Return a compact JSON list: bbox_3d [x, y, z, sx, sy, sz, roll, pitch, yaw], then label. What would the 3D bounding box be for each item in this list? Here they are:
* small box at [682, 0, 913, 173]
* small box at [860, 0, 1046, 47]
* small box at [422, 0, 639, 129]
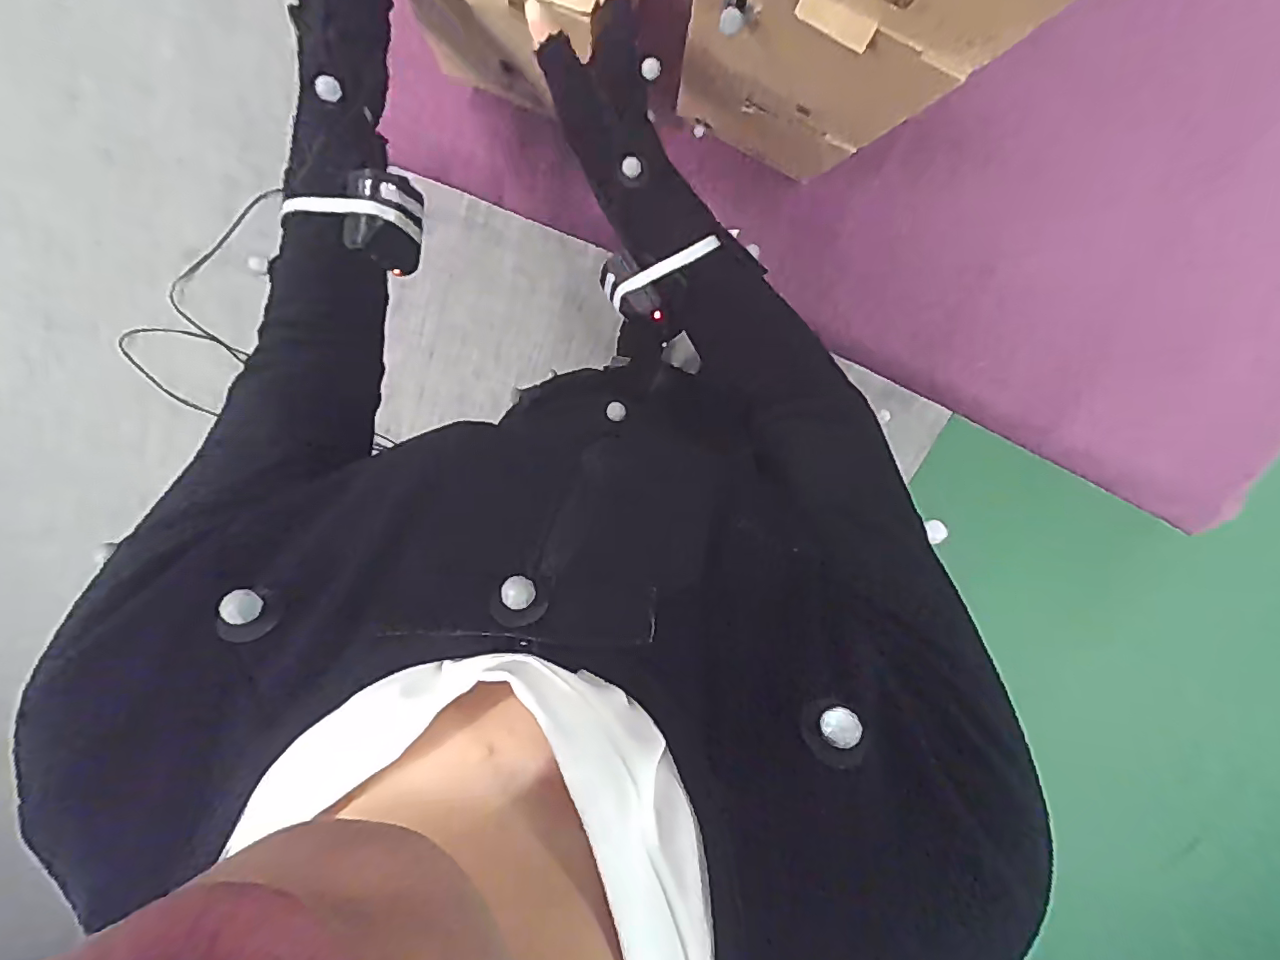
[{"bbox_3d":[0.148,-0.417,0.499,0.168,0.176,0.179,24,108,-8],"label":"small box"},{"bbox_3d":[0.142,-0.311,0.188,0.168,0.176,0.179,21,109,-7],"label":"small box"},{"bbox_3d":[-0.089,-0.457,0.465,0.168,0.176,0.179,20,94,-5],"label":"small box"}]
